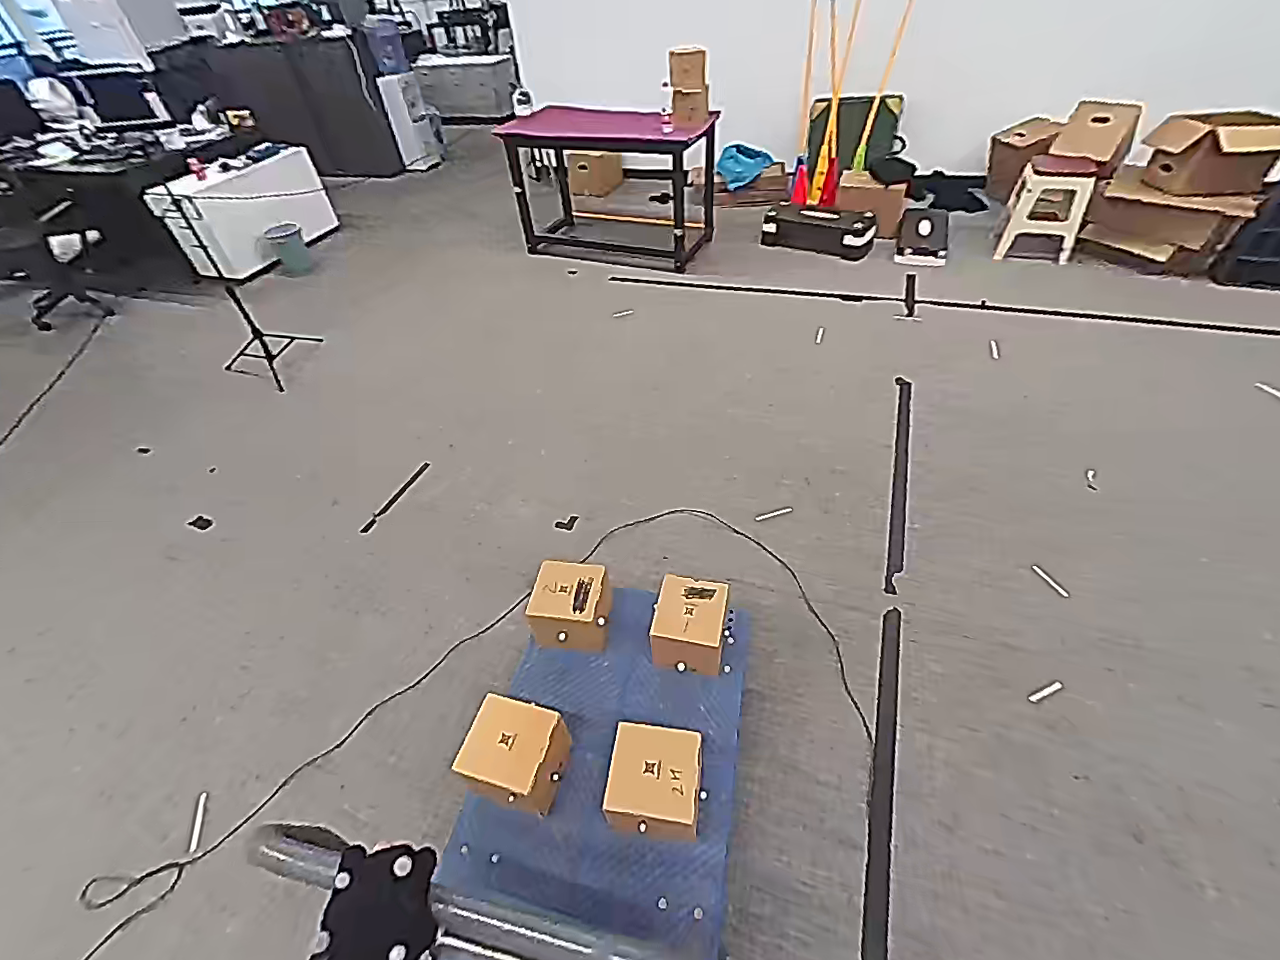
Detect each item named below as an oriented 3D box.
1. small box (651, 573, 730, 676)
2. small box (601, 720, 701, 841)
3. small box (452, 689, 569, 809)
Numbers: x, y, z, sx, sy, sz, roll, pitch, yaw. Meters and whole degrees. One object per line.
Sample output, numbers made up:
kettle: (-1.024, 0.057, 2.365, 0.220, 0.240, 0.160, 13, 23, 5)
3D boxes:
small box: (0.129, 0.364, 1.363, 0.168, 0.176, 0.179, 8, 48, 13)
small box: (0.030, 0.621, 1.116, 0.179, 0.176, 0.168, 4, 46, 10)
small box: (-0.272, 0.589, 1.179, 0.179, 0.176, 0.168, 10, 47, 13)
